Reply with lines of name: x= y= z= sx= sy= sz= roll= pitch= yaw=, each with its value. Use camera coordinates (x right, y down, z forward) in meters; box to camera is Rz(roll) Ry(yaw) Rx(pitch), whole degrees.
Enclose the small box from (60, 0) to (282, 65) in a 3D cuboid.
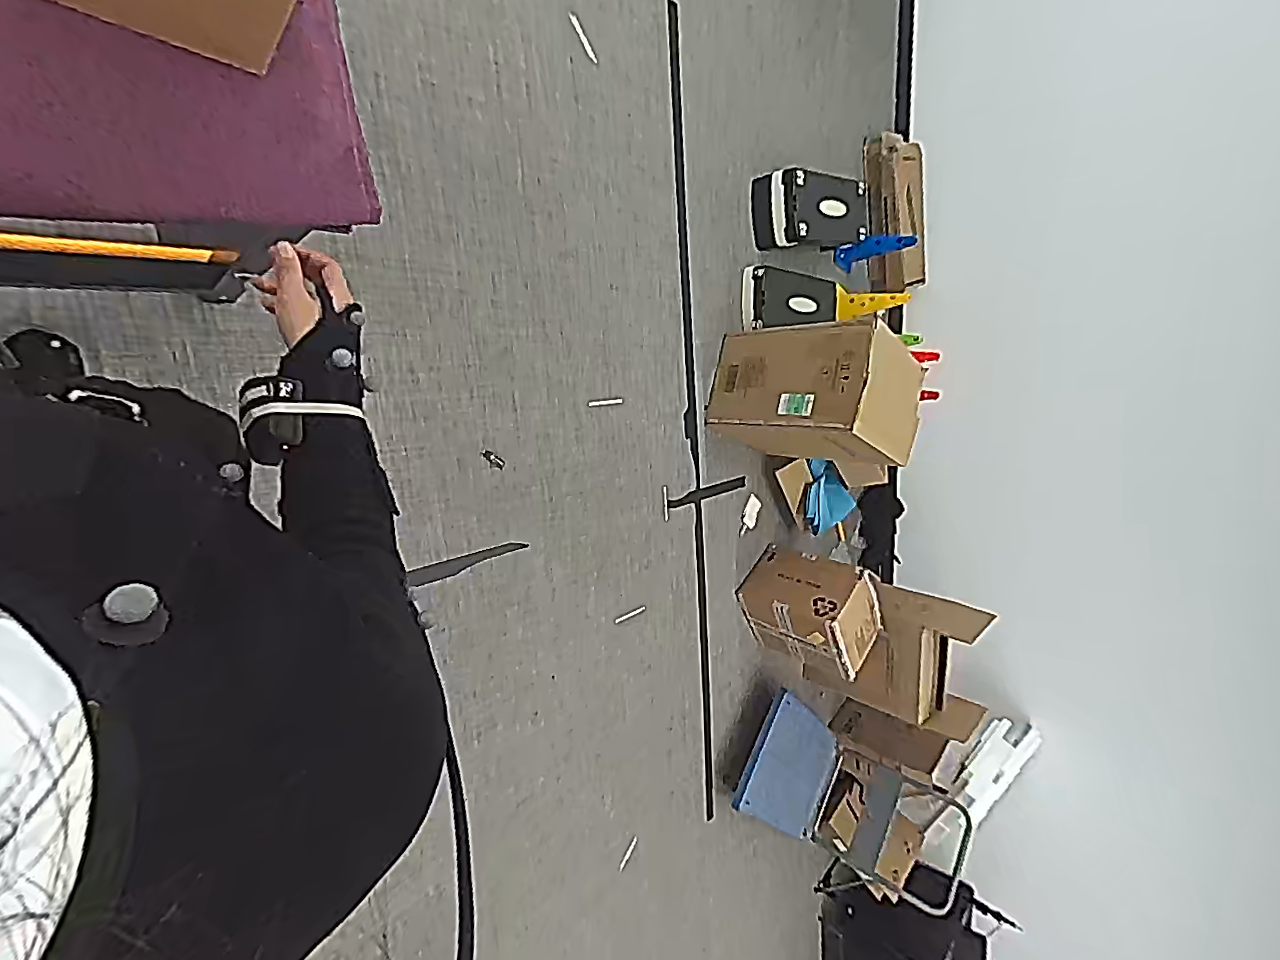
small box: x=-0.376 y=-0.460 z=0.402 sx=0.179 sy=0.176 sz=0.168 roll=-7 pitch=100 yaw=-45
